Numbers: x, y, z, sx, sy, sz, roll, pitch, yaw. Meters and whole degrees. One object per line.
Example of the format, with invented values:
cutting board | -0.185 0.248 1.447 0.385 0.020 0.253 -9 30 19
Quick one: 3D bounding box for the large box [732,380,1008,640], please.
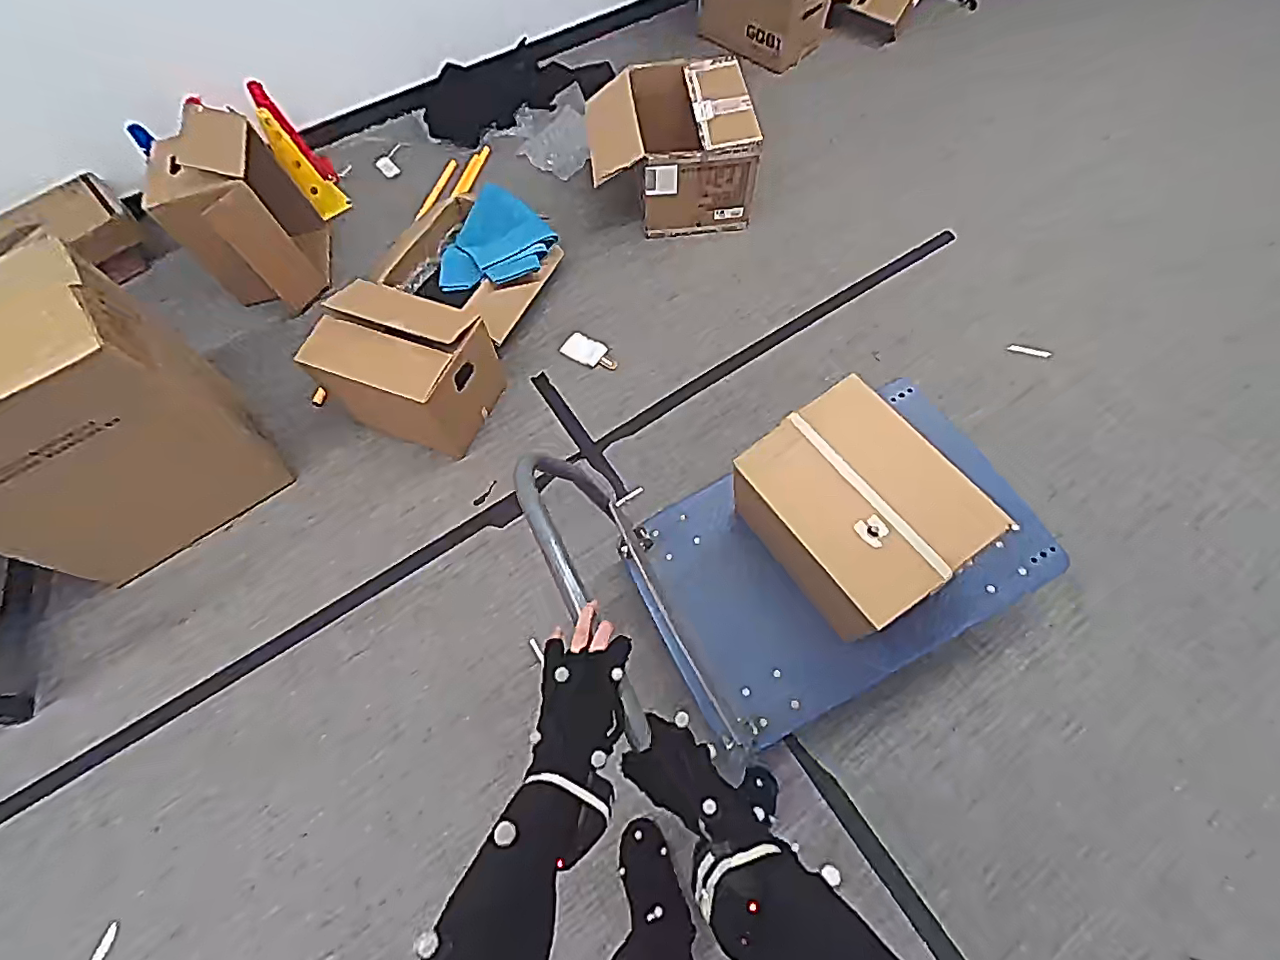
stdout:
large box | 0.439 0.075 1.152 0.320 0.320 0.408 -37 68 -4
